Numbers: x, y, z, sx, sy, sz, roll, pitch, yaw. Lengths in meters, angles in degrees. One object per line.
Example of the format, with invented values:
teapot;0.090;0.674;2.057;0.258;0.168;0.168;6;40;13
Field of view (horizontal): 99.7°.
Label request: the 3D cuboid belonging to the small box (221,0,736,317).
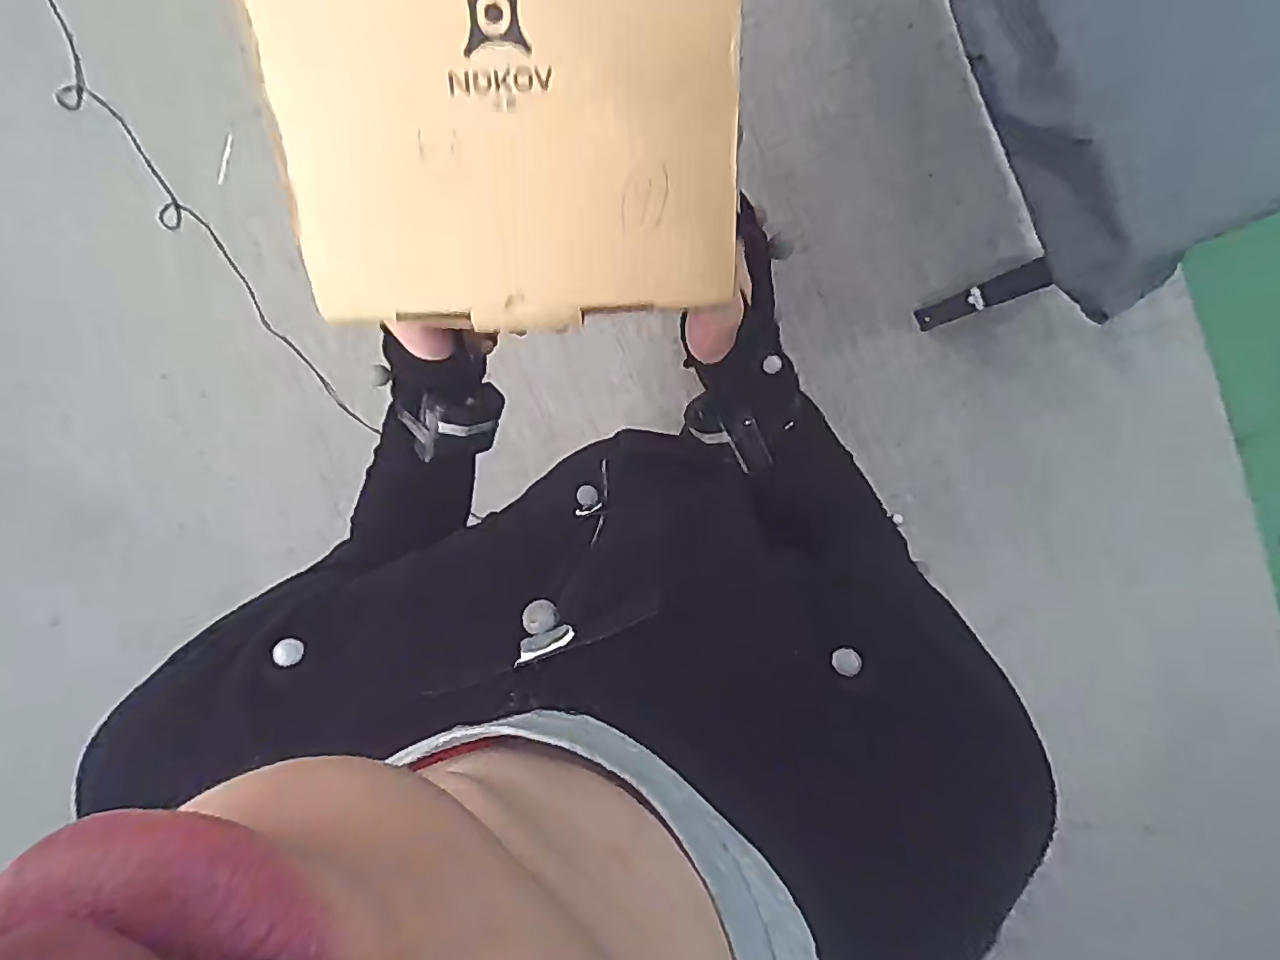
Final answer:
small box;-0.052;-0.177;0.249;0.168;0.176;0.179;-3;113;-1
